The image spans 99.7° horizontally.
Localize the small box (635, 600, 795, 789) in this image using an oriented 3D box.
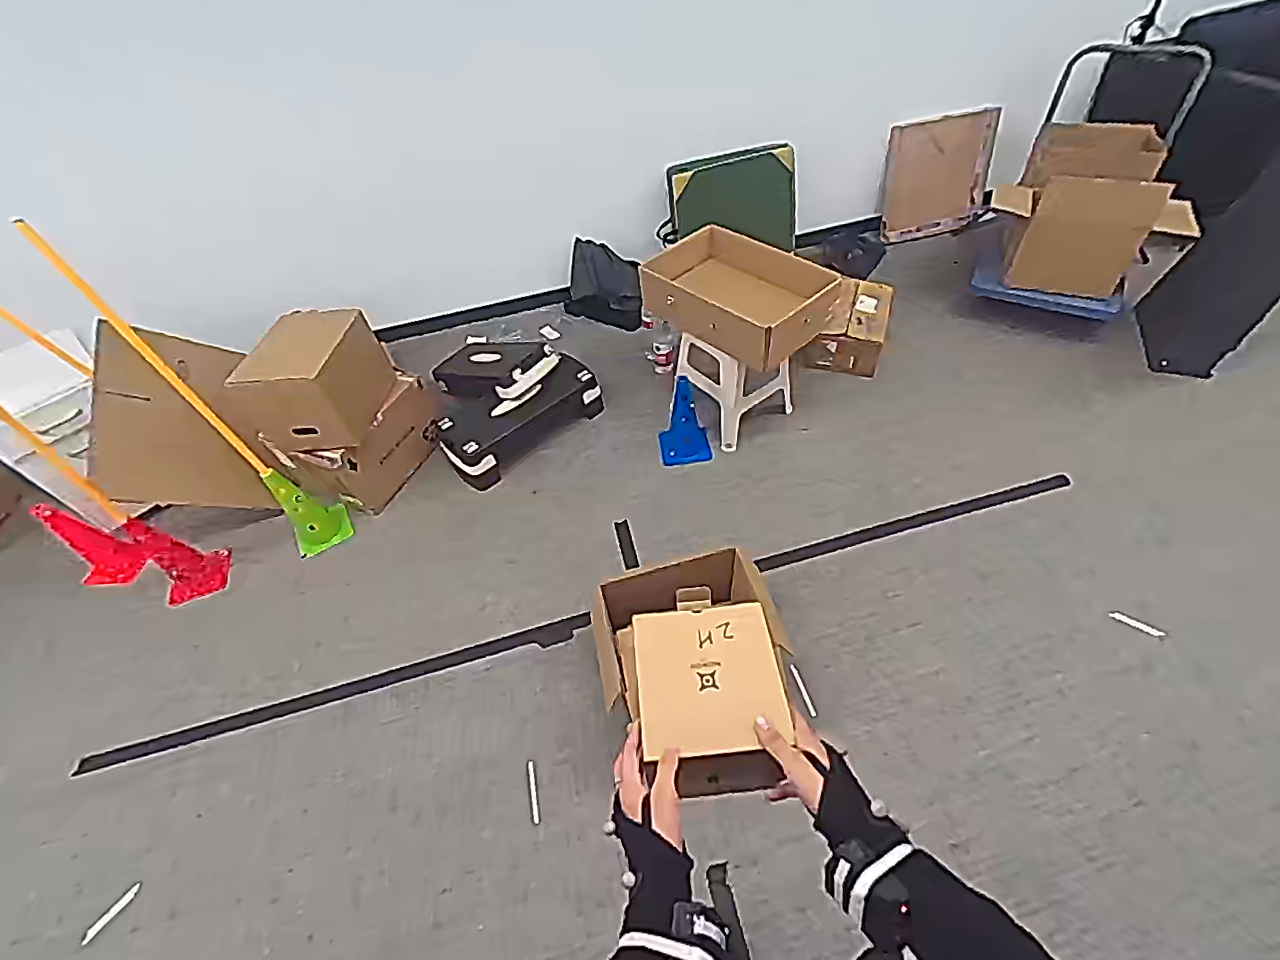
[{"bbox_3d":[0.083,0.275,0.683,0.168,0.176,0.179,-4,46,-1],"label":"small box"}]
